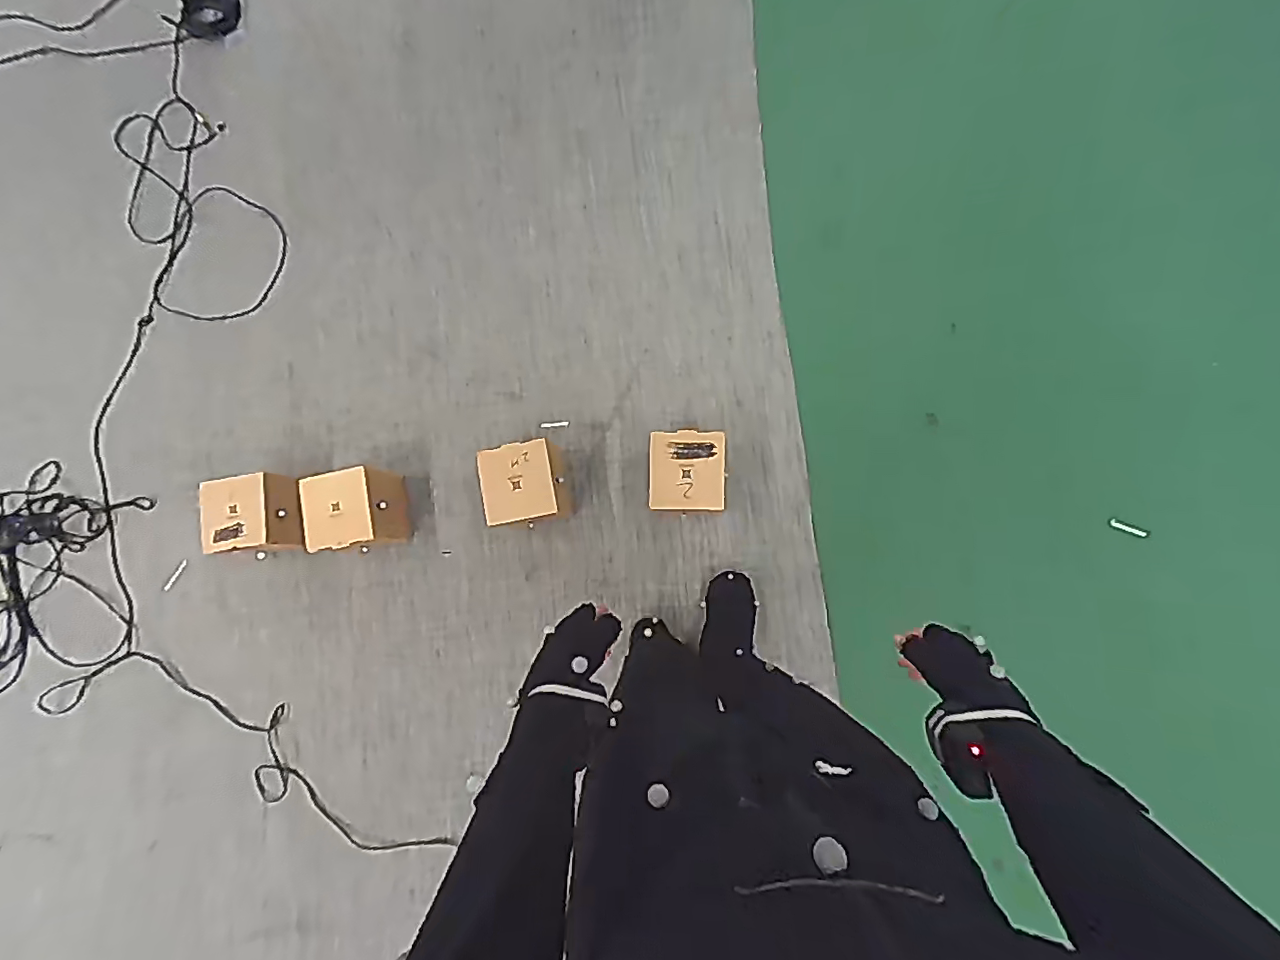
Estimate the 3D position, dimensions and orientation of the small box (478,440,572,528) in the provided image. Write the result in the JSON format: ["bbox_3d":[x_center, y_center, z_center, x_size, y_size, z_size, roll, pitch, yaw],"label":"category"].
[{"bbox_3d":[-0.267,0.015,1.287,0.168,0.176,0.179,-11,83,3],"label":"small box"}]

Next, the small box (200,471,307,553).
[{"bbox_3d":[-0.943,0.082,1.344,0.168,0.176,0.179,-9,82,4],"label":"small box"}]

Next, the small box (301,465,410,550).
[{"bbox_3d":[-0.688,0.072,1.321,0.168,0.176,0.179,-12,83,4],"label":"small box"}]
